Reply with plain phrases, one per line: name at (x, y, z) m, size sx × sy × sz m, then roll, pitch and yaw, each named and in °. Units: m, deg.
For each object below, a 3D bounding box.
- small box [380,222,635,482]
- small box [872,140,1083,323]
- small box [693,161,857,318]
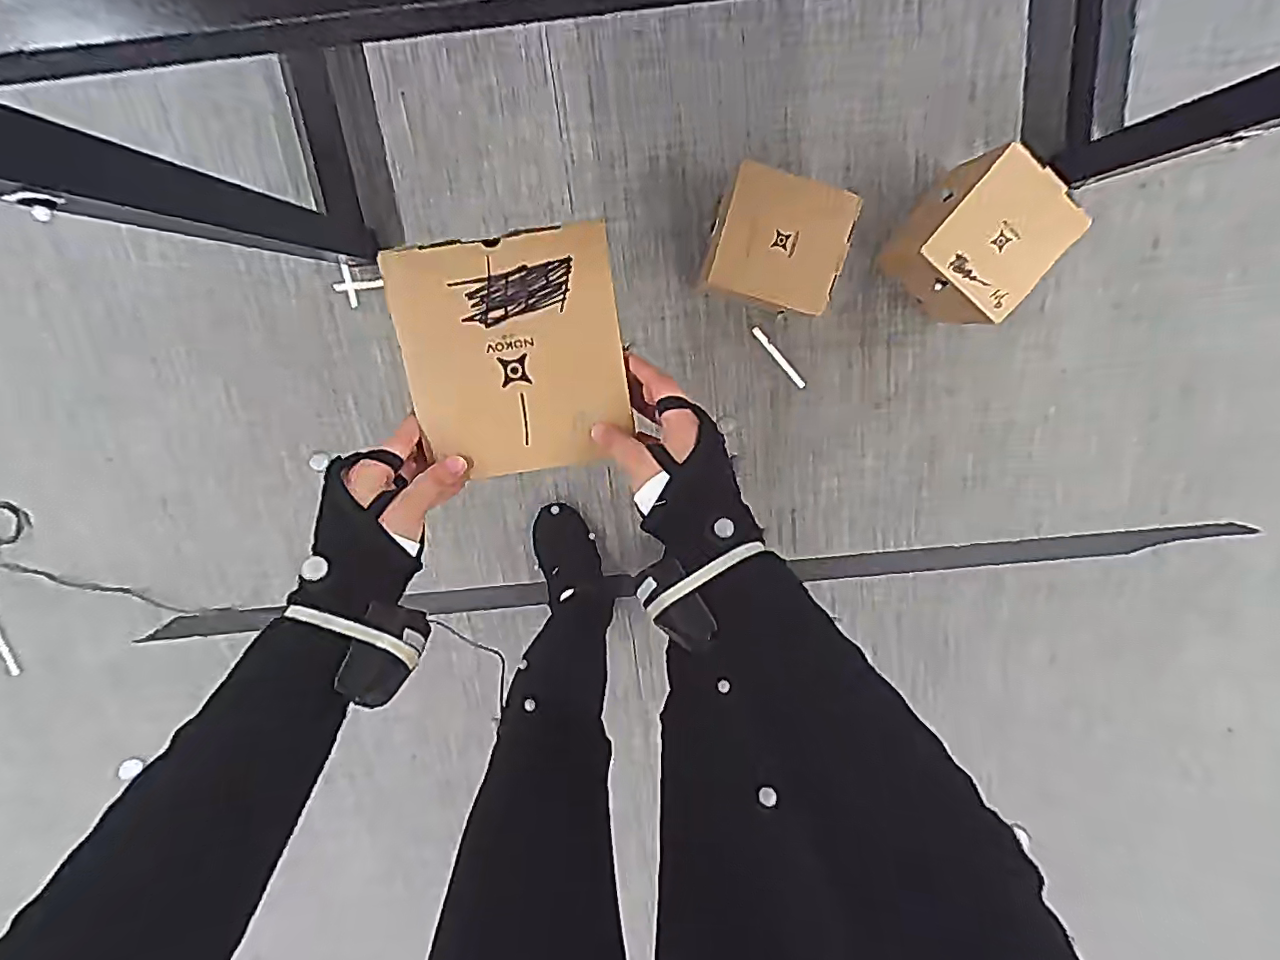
small box at (-0.099, -0.111, 0.485) m, size 0.168 × 0.176 × 0.179 m, roll -8°, pitch 105°, yaw 0°
small box at (0.495, -0.362, 0.823) m, size 0.168 × 0.176 × 0.179 m, roll 36°, pitch 103°, yaw -10°
small box at (0.191, -0.353, 0.825) m, size 0.179 × 0.176 × 0.168 m, roll 14°, pitch 105°, yaw -4°
